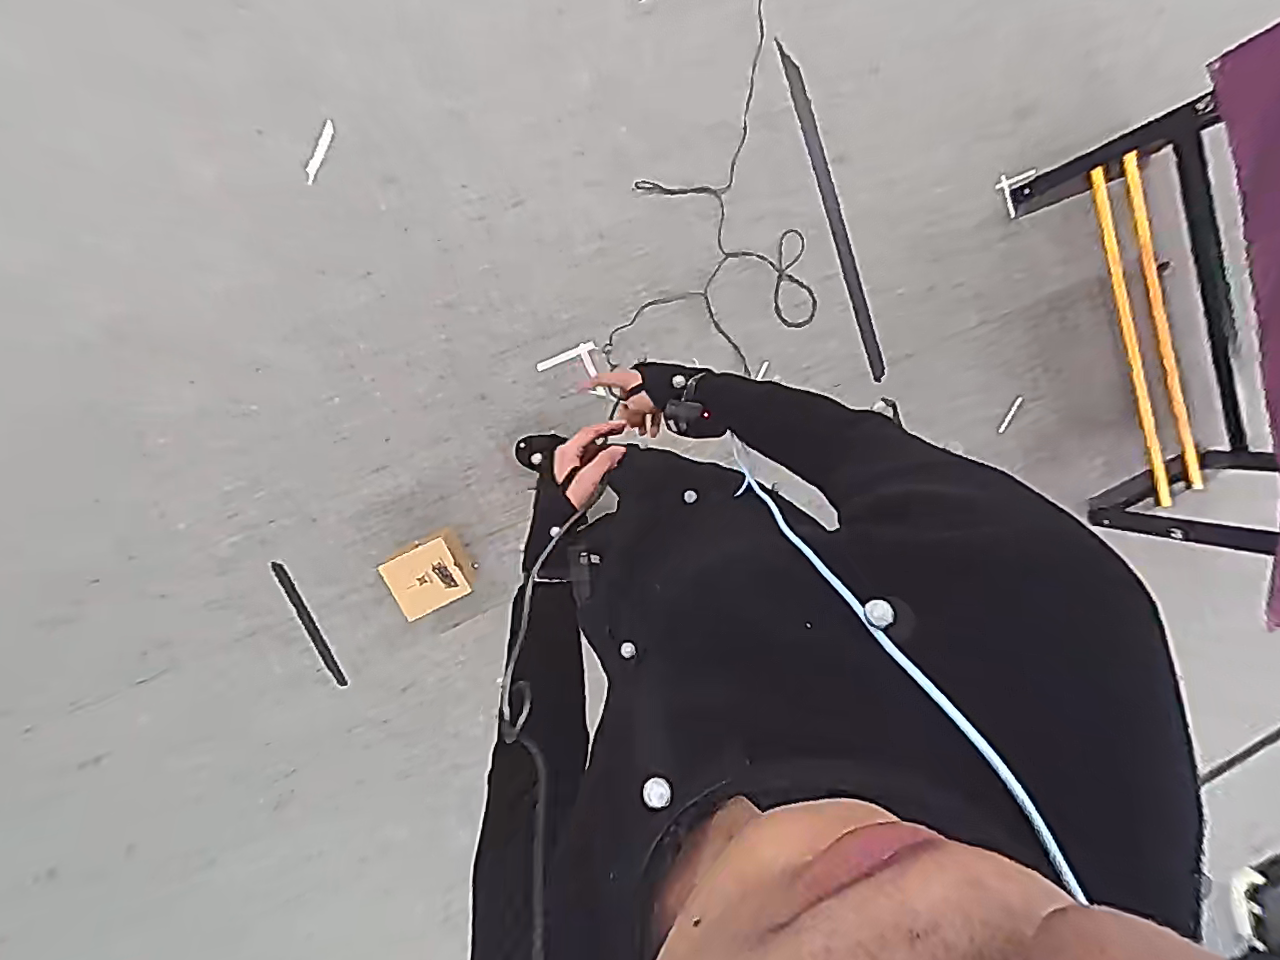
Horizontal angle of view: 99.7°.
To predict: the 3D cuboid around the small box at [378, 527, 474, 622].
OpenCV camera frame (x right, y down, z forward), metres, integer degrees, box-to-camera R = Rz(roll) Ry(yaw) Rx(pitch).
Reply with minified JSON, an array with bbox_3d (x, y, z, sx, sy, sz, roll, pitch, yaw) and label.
[{"bbox_3d":[-0.559,0.243,1.446,0.179,0.176,0.168,-26,100,-6],"label":"small box"}]
